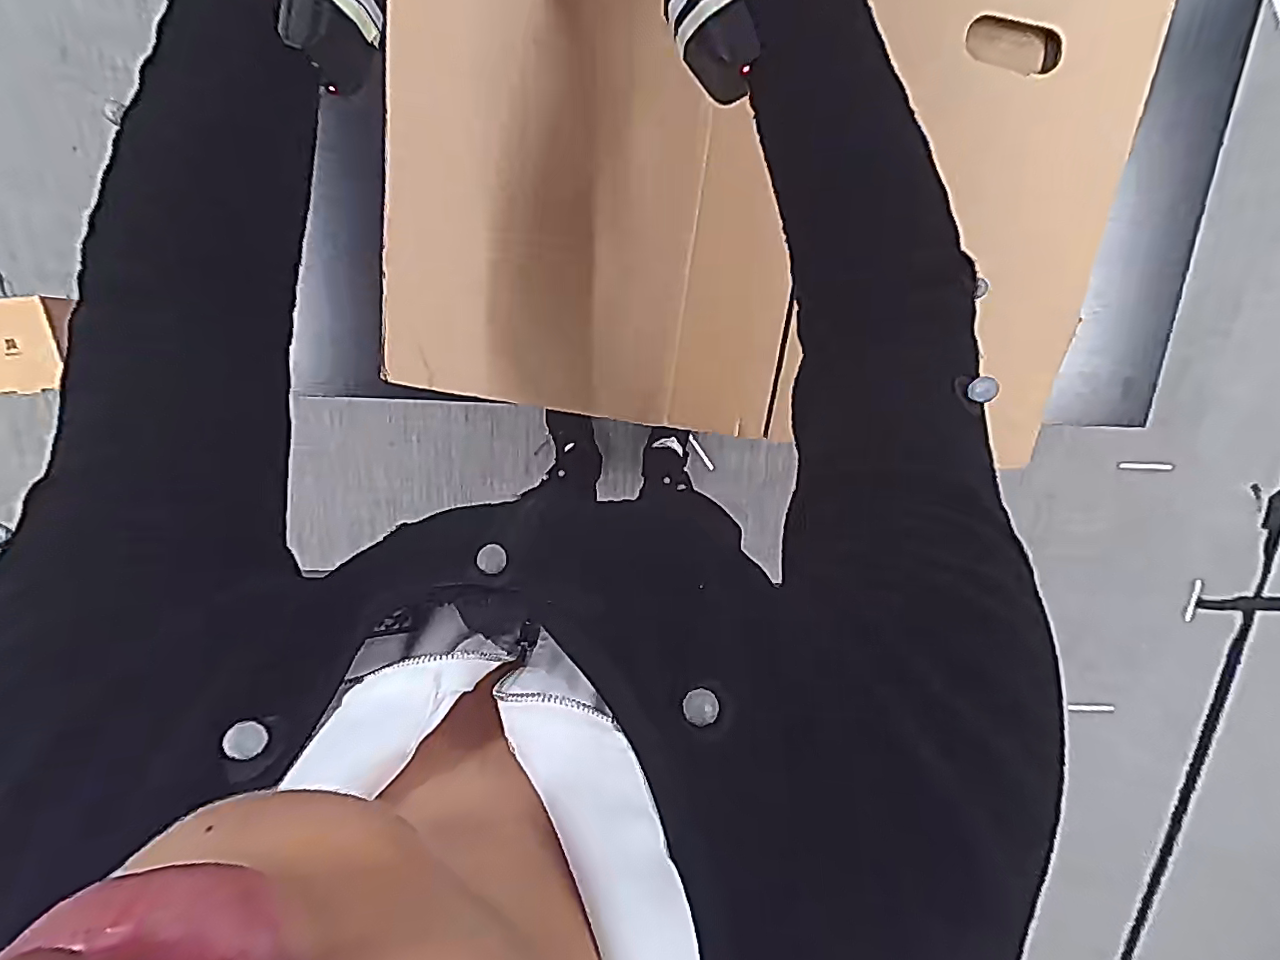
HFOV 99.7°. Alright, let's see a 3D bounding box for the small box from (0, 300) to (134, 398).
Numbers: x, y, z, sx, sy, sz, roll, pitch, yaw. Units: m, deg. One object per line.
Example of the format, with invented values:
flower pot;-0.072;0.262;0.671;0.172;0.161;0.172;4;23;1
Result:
small box;-1.207;-0.270;1.112;0.168;0.176;0.179;-5;104;-2
